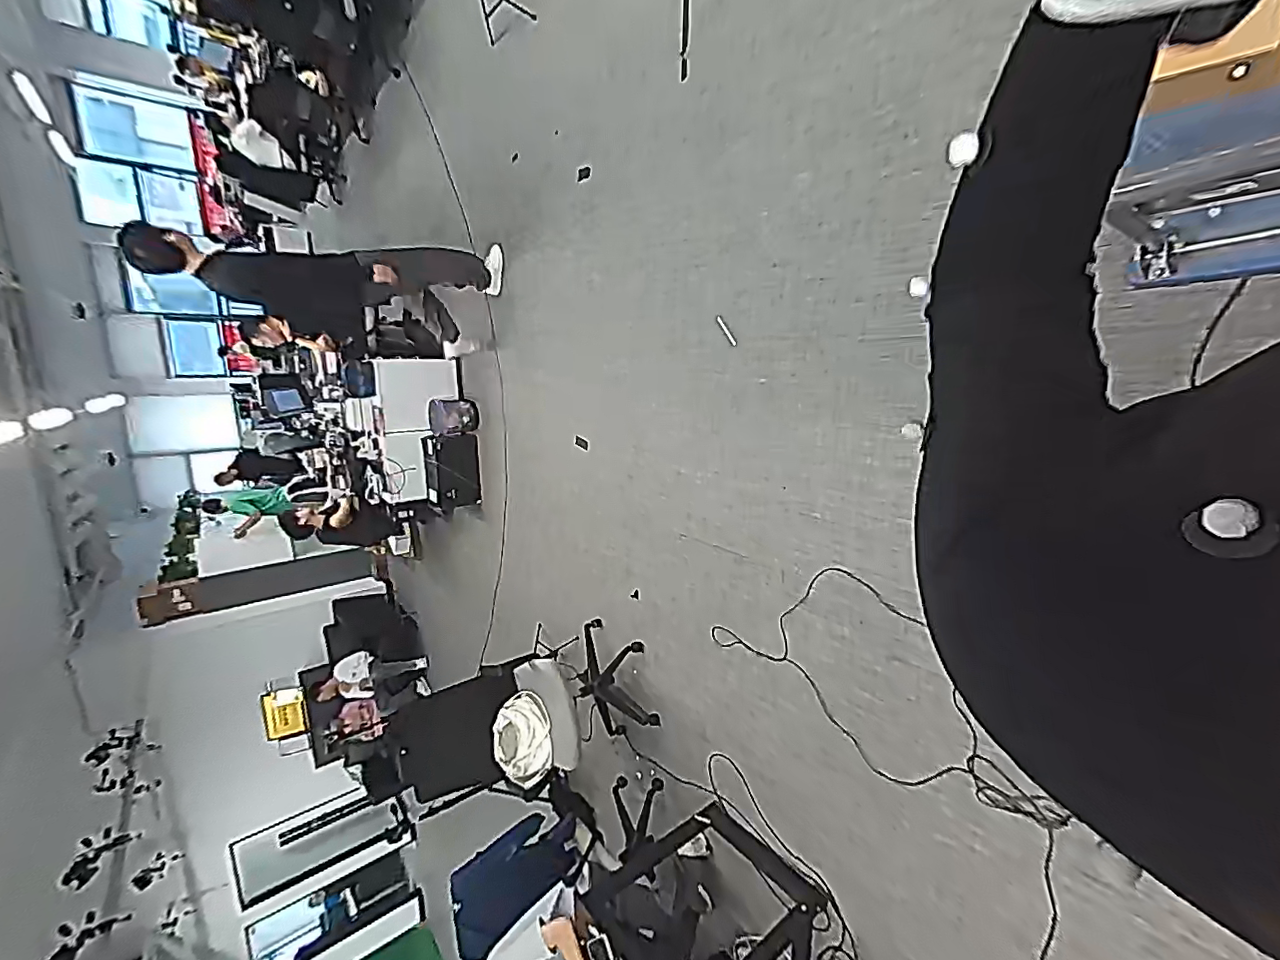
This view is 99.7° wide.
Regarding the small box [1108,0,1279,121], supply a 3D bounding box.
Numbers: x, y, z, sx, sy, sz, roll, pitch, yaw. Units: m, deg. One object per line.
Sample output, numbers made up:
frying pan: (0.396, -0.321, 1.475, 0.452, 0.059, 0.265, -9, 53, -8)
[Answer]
small box: (0.867, -0.687, 0.833, 0.179, 0.176, 0.168, 15, 109, 48)
